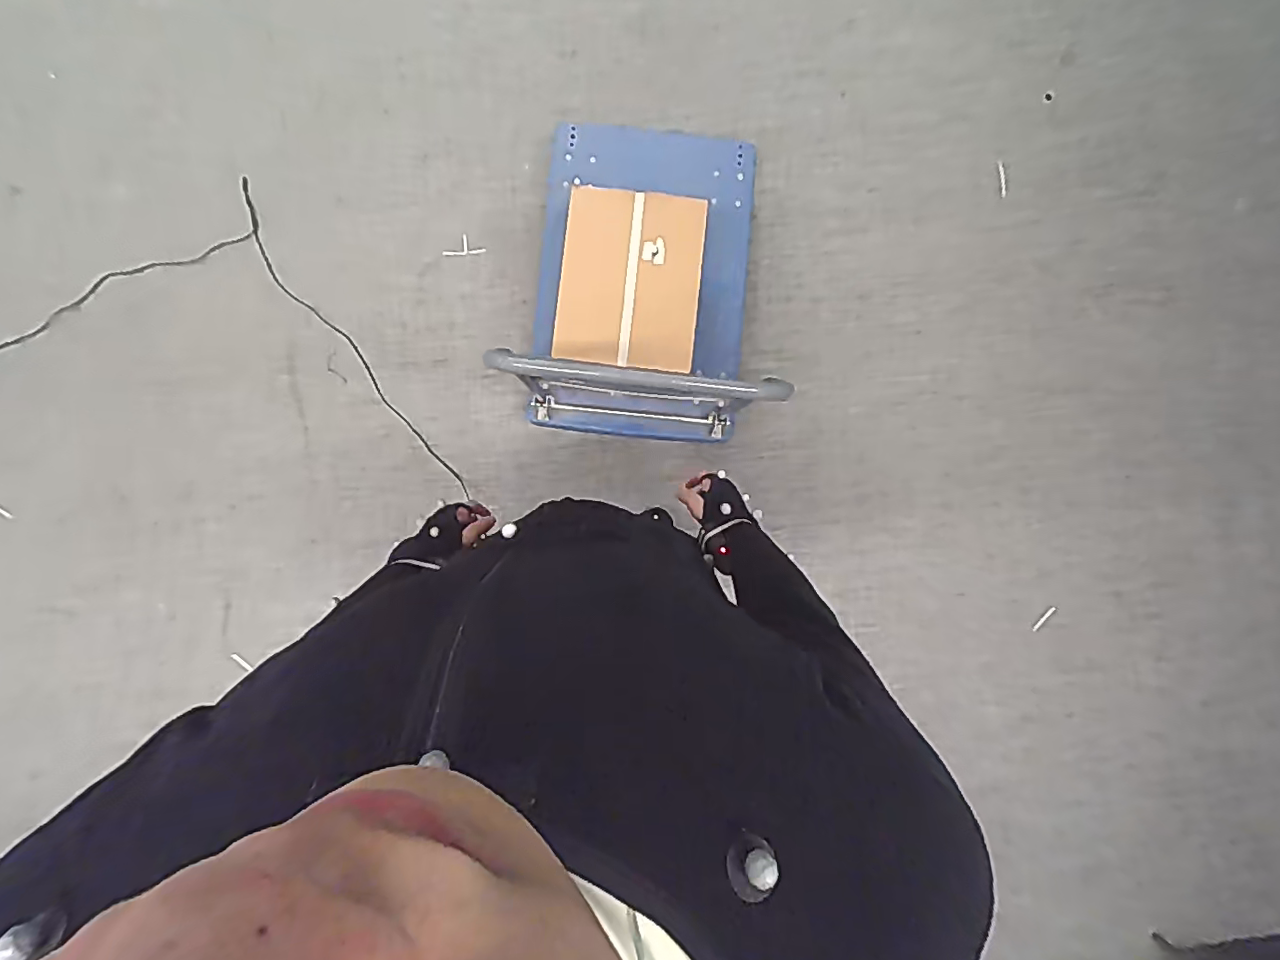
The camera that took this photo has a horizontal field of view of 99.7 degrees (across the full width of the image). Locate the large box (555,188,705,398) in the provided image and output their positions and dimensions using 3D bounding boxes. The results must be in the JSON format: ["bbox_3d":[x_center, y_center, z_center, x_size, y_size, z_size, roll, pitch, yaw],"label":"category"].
[{"bbox_3d":[-0.024,-0.444,1.366,0.320,0.320,0.408,6,85,-2],"label":"large box"}]
